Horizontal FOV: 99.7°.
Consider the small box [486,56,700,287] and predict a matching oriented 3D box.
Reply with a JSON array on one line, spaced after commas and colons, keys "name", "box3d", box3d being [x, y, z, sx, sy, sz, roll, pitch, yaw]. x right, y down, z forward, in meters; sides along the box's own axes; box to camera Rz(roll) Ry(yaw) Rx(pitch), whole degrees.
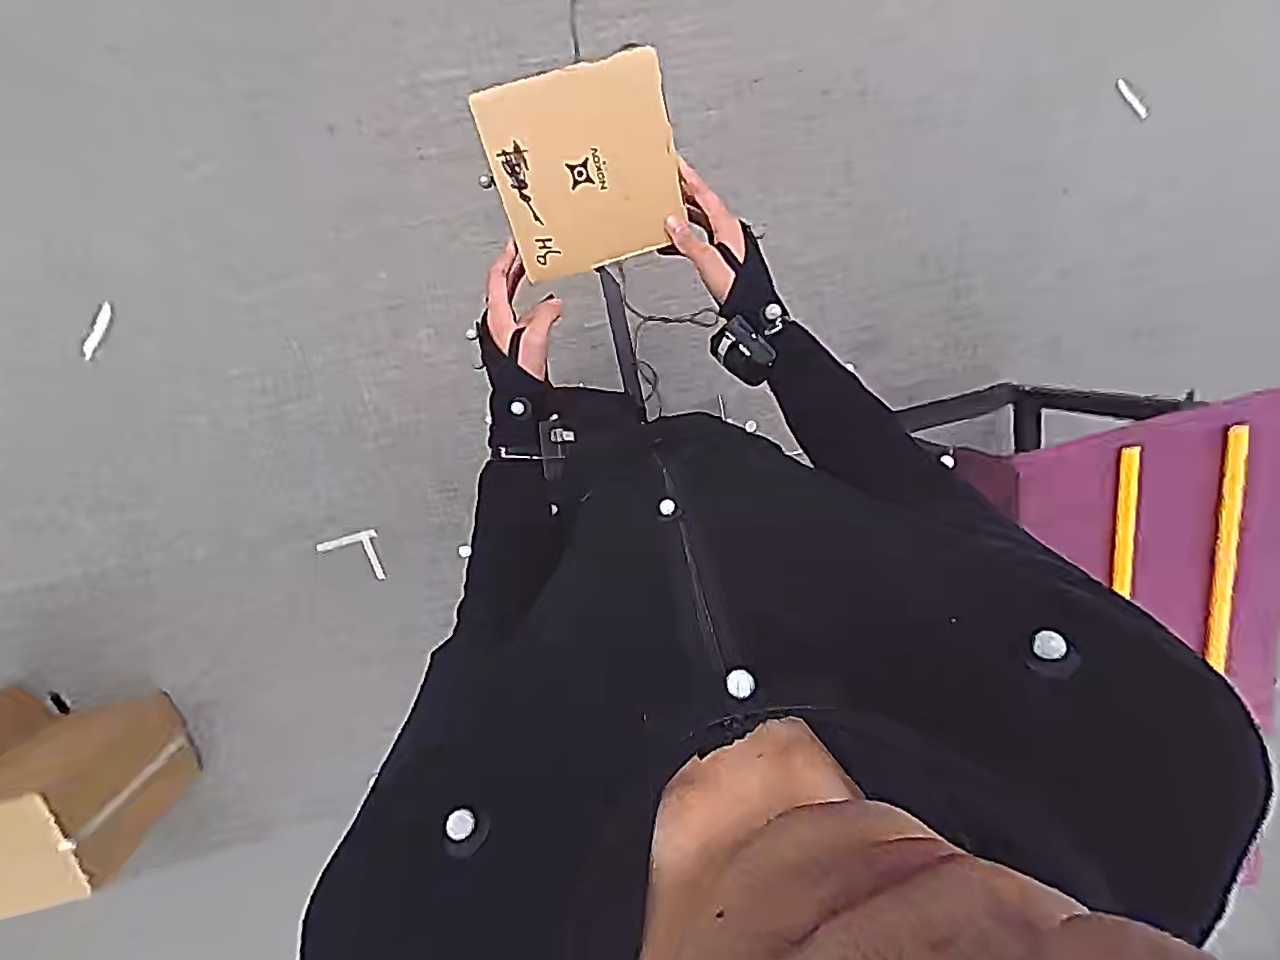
[{"name": "small box", "box3d": [-0.054, -0.320, 0.580, 0.179, 0.176, 0.168, -17, 117, -5]}]
